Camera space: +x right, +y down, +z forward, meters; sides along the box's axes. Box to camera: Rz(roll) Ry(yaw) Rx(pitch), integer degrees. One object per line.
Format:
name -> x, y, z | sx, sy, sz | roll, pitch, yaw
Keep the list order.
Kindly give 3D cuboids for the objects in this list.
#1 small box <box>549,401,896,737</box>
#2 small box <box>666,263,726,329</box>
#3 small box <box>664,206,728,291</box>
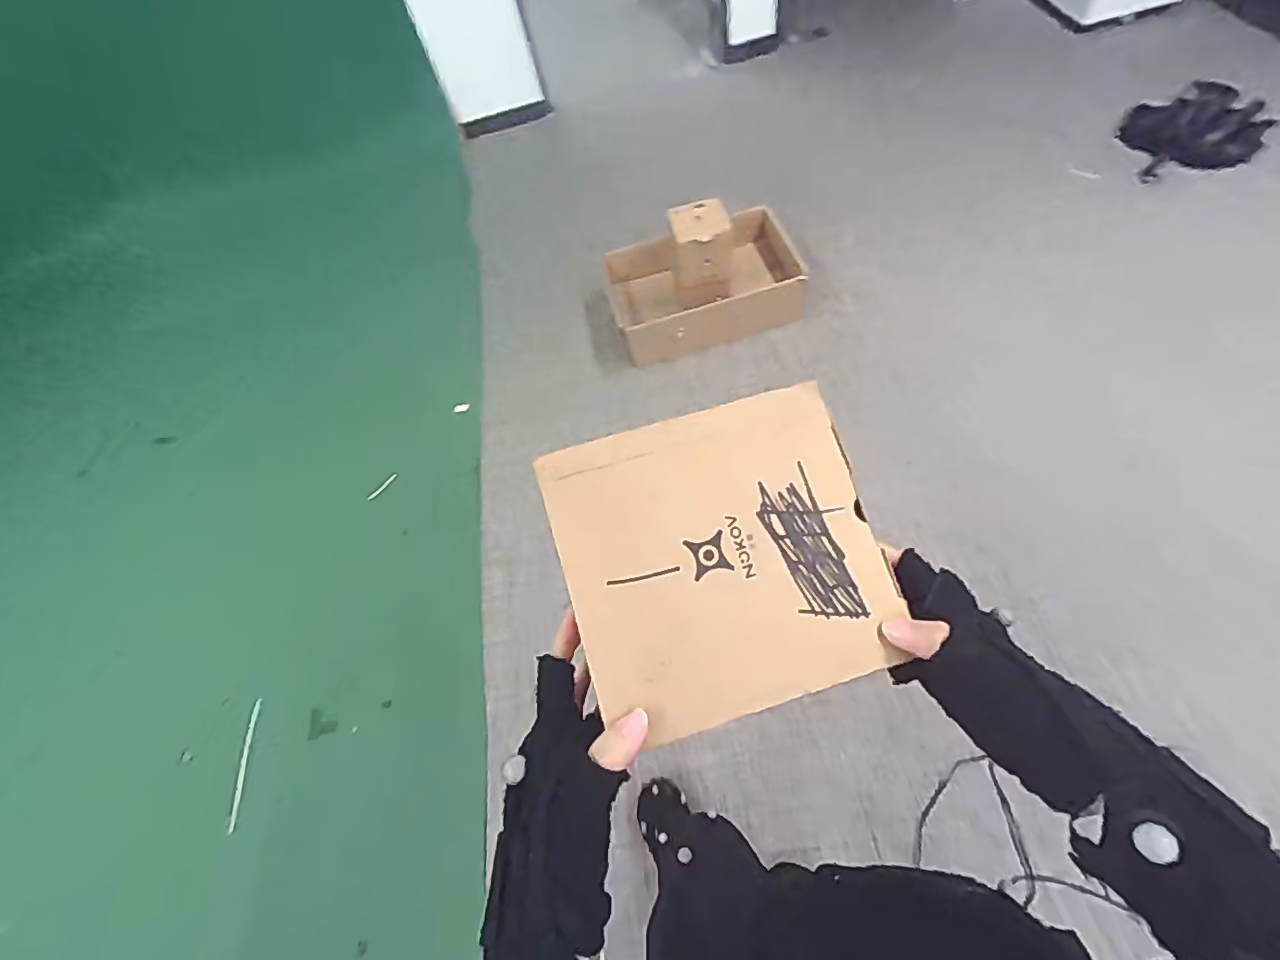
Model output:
small box -> 0.042, 0.064, 0.397 | 0.179, 0.176, 0.168 | -14, 76, -6
small box -> 0.193, -0.636, 1.836 | 0.168, 0.176, 0.179 | -14, 57, 1
small box -> 0.177, -0.714, 1.693 | 0.168, 0.176, 0.179 | -12, 58, 2
